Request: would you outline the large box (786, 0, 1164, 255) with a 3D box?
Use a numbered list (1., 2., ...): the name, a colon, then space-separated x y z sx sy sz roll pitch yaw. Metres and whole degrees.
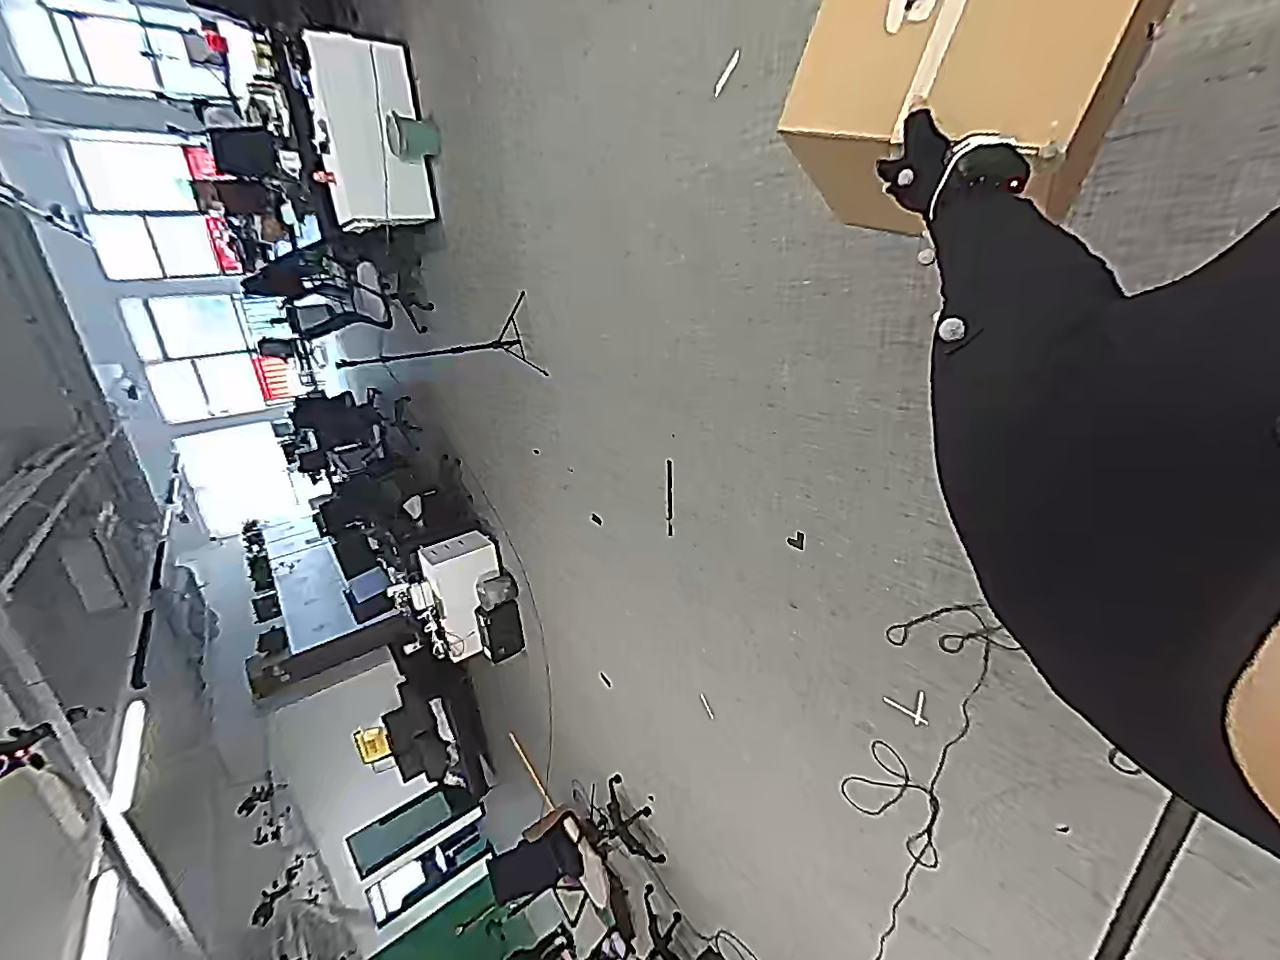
1. large box: 0.445 -0.562 0.692 0.320 0.320 0.408 28 106 32
